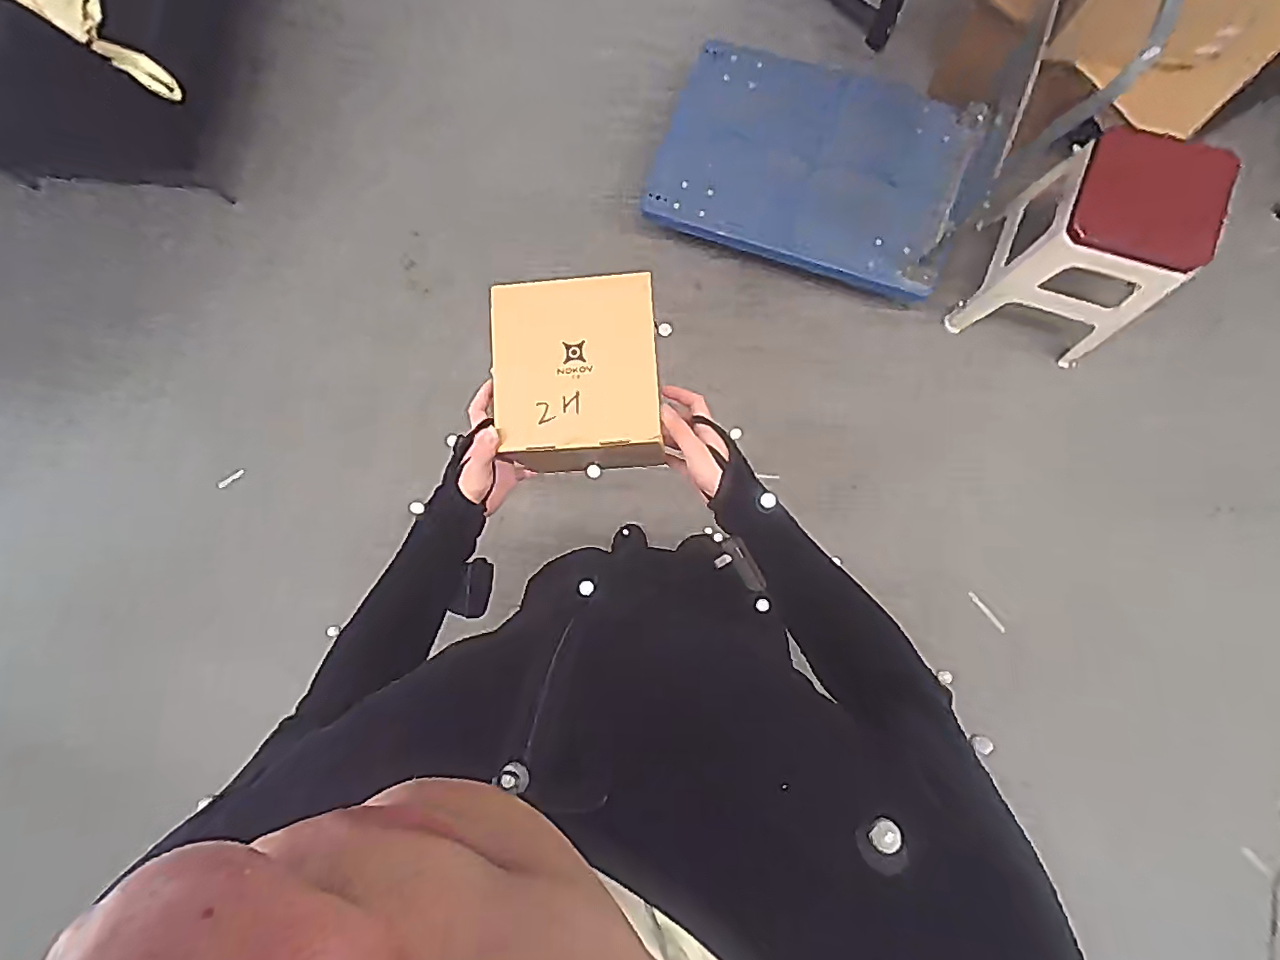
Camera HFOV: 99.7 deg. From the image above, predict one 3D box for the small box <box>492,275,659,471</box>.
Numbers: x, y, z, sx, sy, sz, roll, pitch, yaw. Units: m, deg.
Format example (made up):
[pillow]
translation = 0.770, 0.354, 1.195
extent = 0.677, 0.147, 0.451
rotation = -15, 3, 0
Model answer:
[small box]
translation = -0.065, -0.112, 0.627
extent = 0.168, 0.176, 0.179
rotation = -4, 83, 3
